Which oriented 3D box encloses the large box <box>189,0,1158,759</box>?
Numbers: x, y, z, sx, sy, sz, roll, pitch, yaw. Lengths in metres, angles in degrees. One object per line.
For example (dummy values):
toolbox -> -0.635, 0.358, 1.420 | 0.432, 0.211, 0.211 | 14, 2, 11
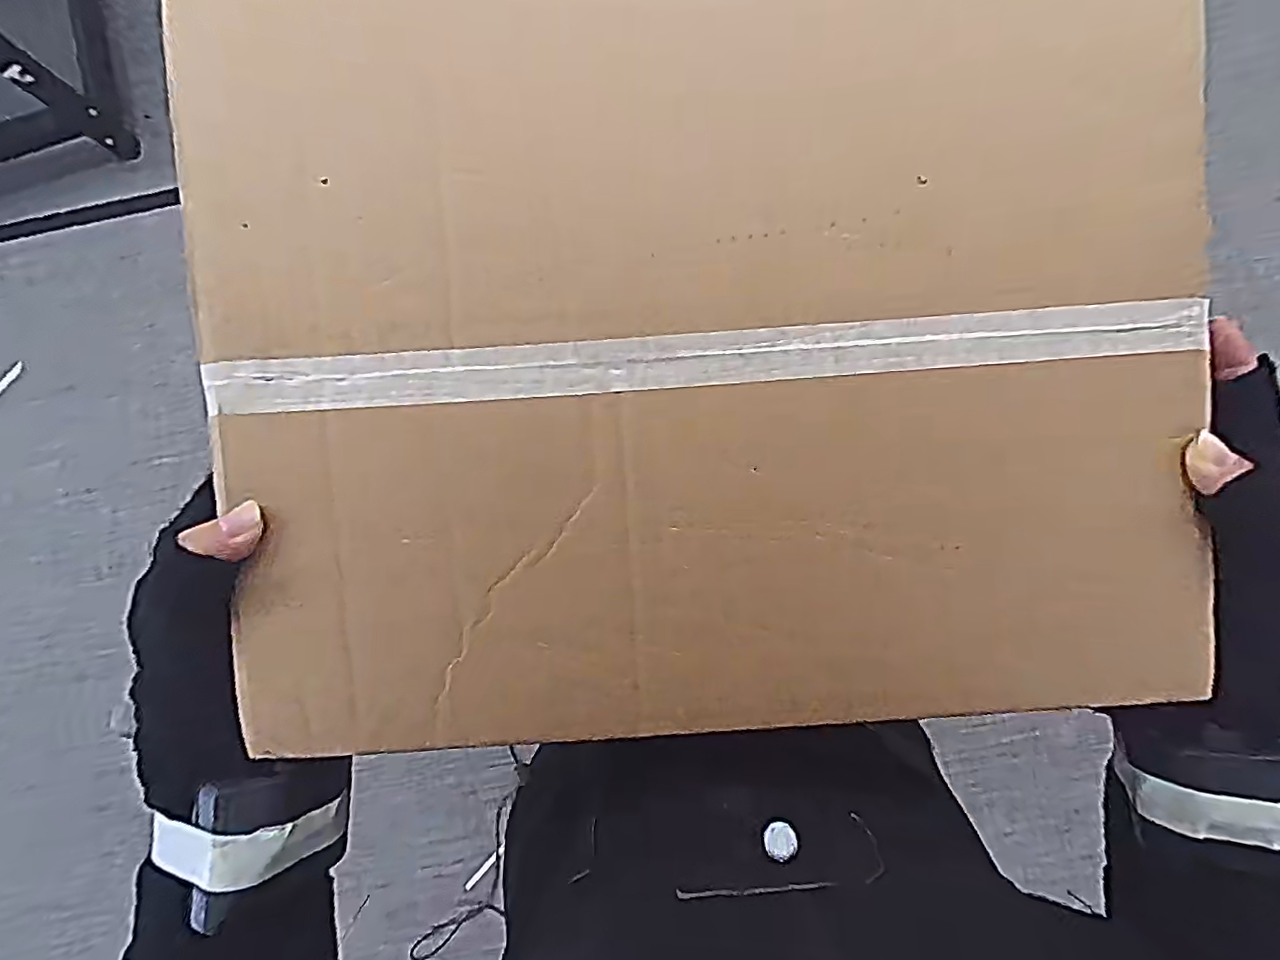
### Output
large box -> 0.023, -0.053, 0.381 | 0.408, 0.320, 0.320 | -4, 93, 0
